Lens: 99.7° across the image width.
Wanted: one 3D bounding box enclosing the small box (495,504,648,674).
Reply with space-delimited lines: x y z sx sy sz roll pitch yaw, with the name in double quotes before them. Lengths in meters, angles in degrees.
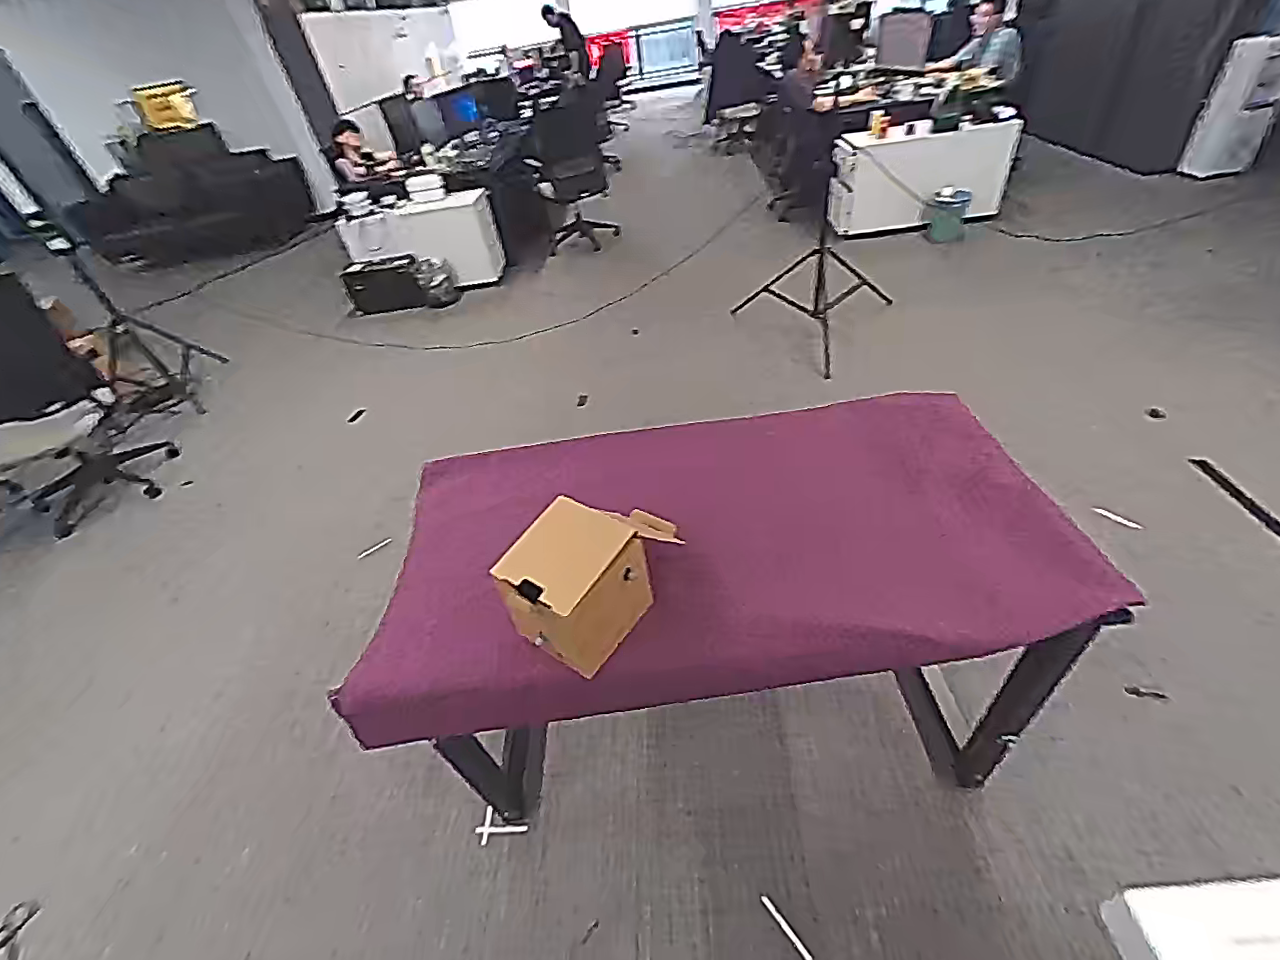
"small box" -0.100 0.175 0.886 0.168 0.176 0.179 21 49 33
